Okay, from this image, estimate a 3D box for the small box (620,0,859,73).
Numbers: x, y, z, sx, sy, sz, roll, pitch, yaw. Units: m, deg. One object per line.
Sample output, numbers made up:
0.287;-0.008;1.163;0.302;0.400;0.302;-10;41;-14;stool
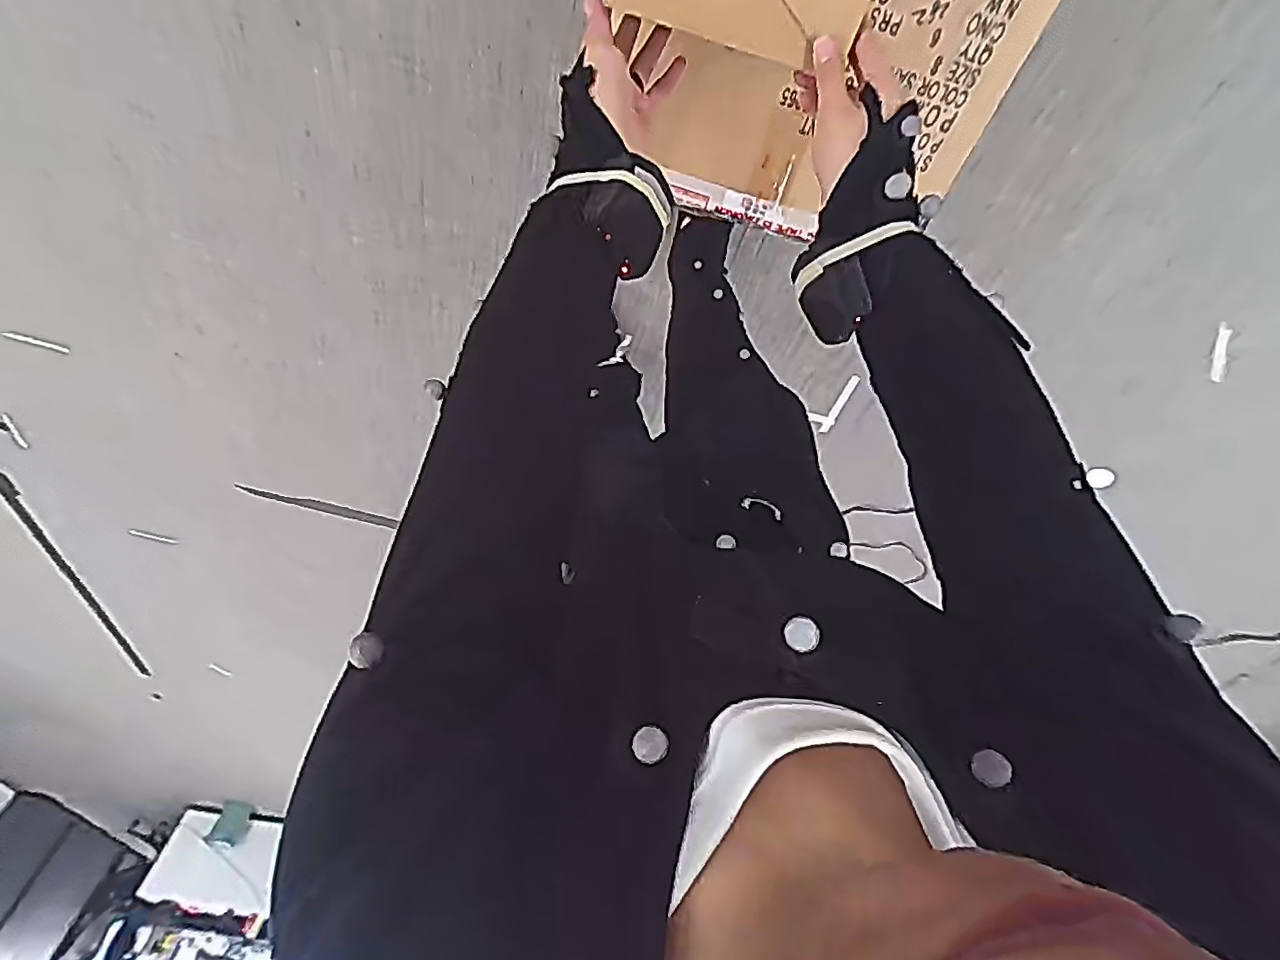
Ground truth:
0.085;-0.423;0.388;0.179;0.176;0.168;14;134;-6;small box
